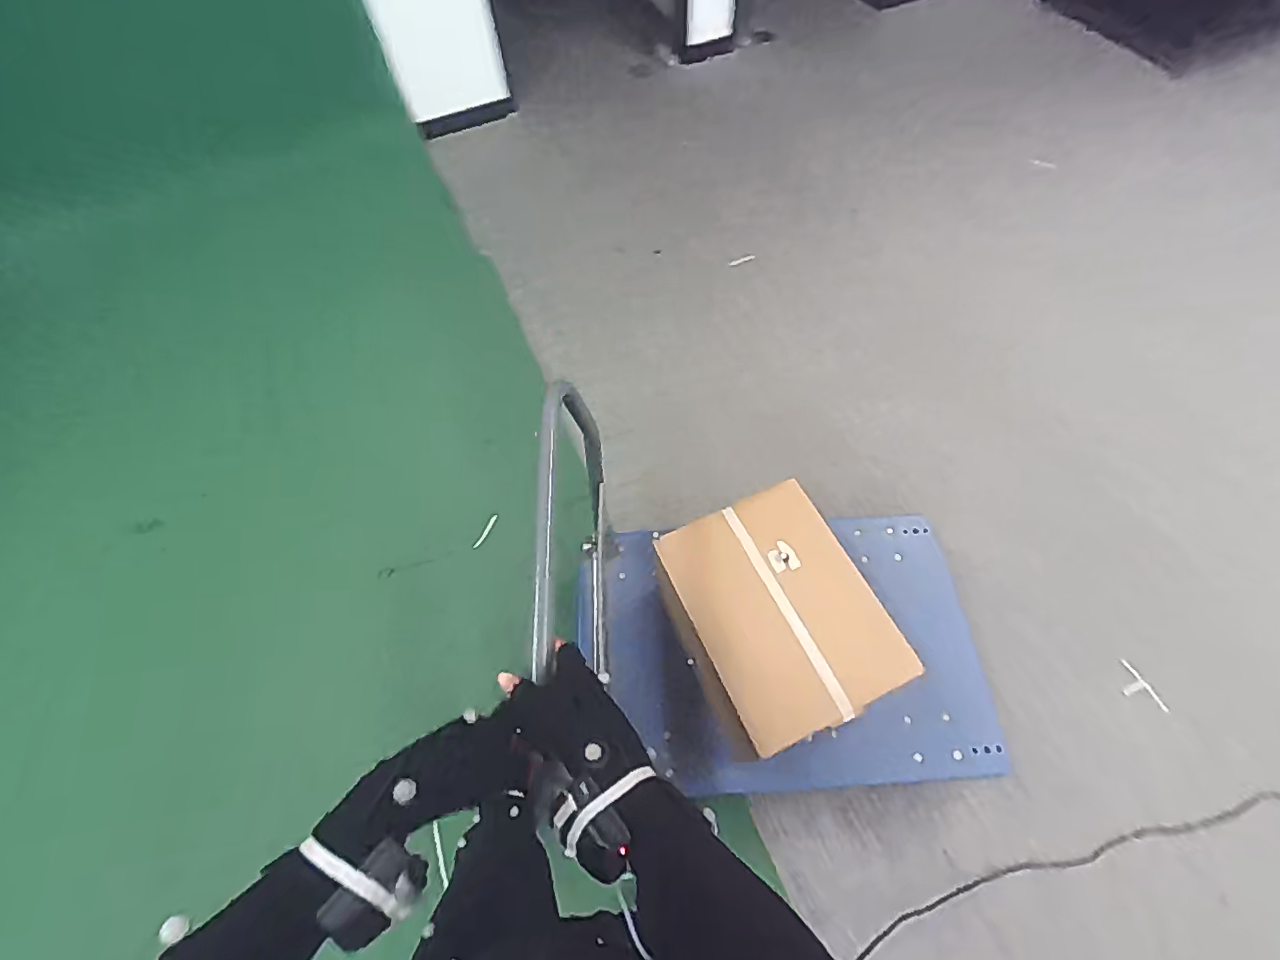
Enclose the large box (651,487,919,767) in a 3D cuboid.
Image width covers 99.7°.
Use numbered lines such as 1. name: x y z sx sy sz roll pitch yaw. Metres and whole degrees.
1. large box: 0.249 0.297 1.077 0.320 0.320 0.408 -22 61 -10
